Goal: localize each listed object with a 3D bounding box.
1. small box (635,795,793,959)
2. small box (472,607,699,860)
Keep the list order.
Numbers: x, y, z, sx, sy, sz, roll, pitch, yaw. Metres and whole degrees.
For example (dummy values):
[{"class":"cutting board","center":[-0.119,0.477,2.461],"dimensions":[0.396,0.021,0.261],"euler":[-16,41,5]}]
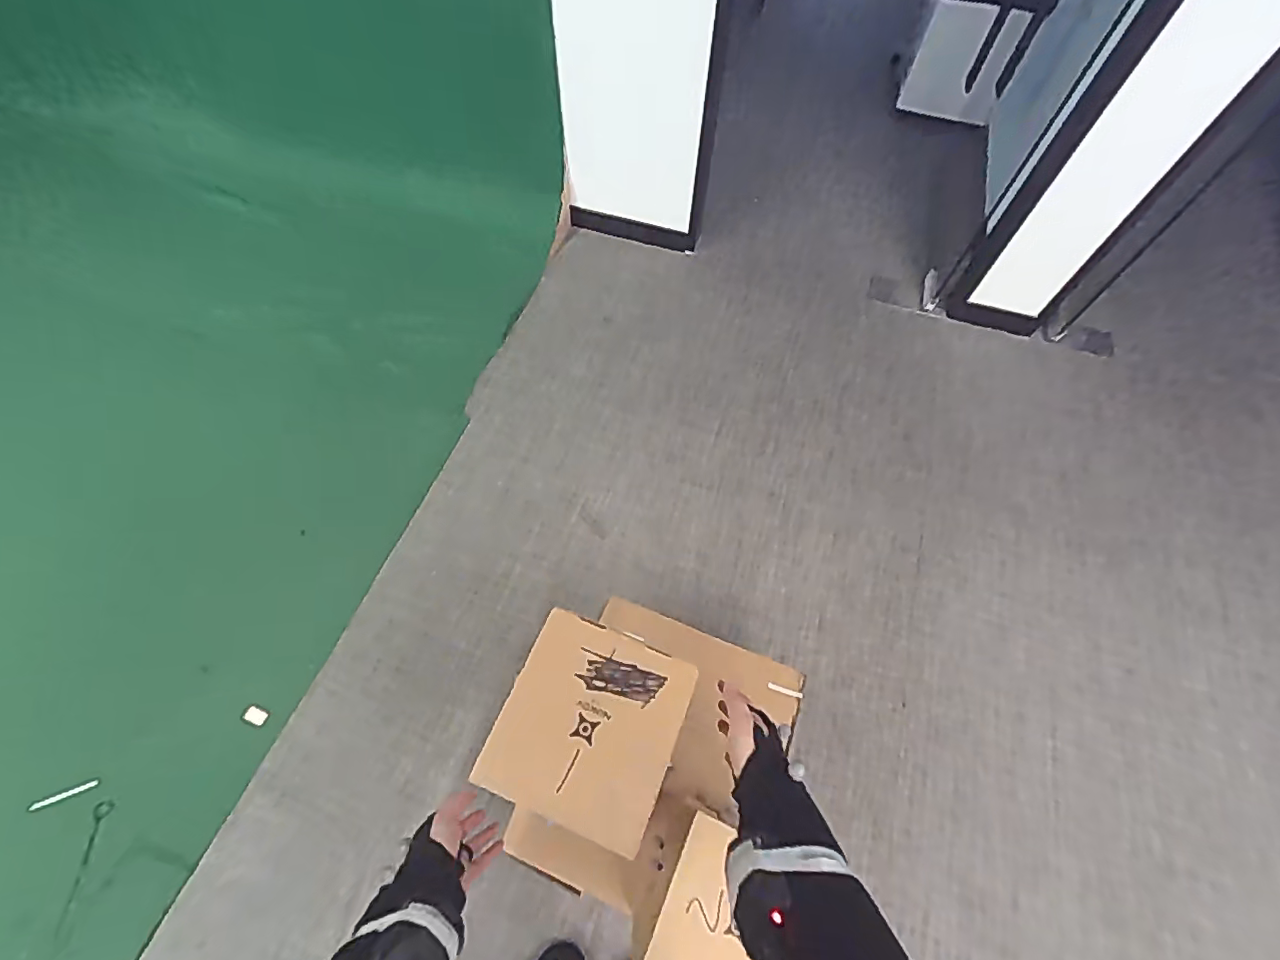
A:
[{"class":"small box","center":[0.098,0.584,0.780],"dimensions":[0.168,0.176,0.179],"euler":[22,60,10]},{"class":"small box","center":[-0.050,0.268,0.583],"dimensions":[0.168,0.176,0.179],"euler":[21,62,10]}]
